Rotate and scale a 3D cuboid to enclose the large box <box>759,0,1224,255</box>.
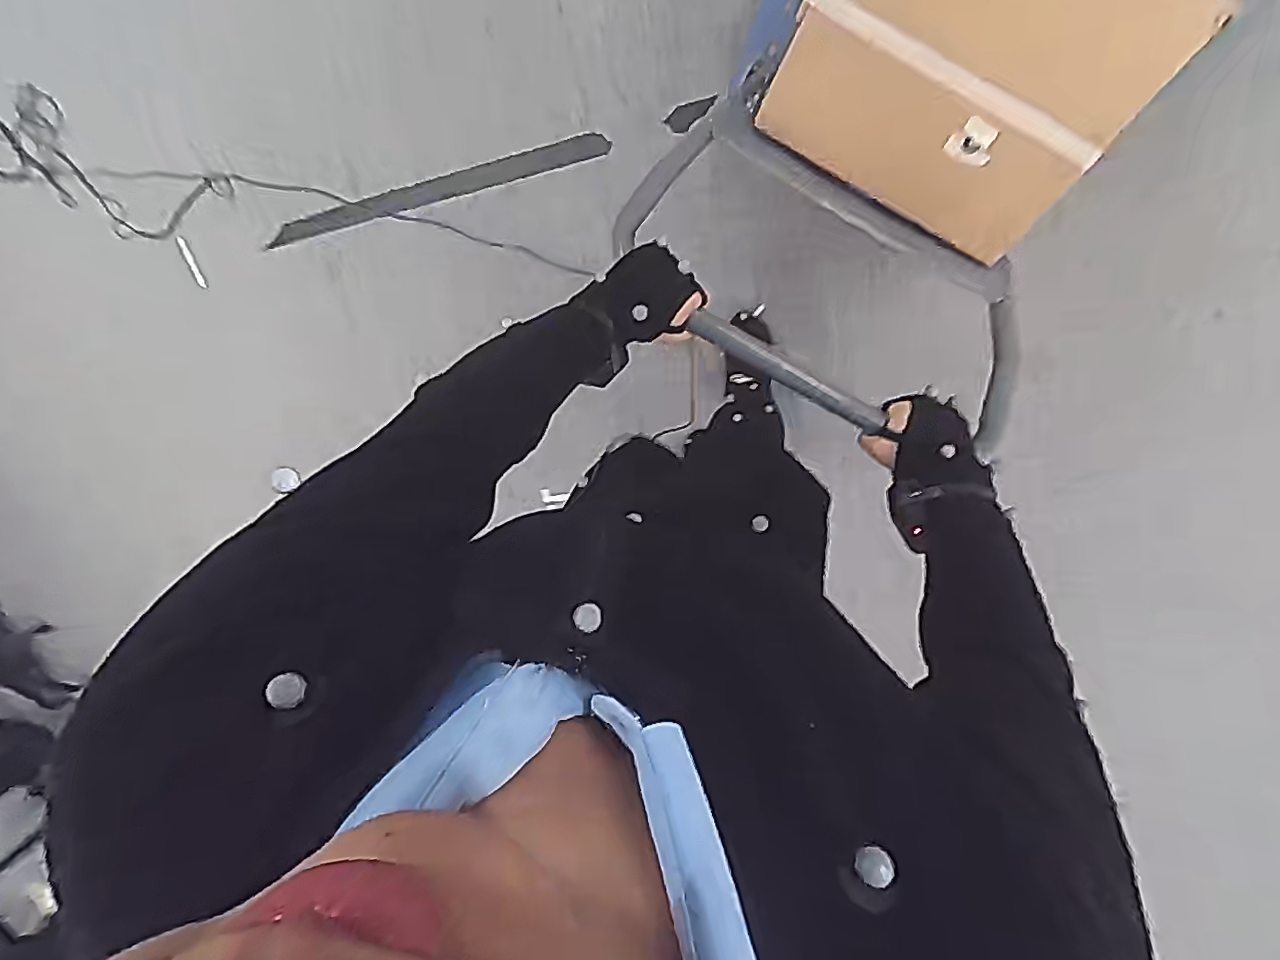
[{"bbox_3d":[0.443,-0.607,0.776,0.408,0.320,0.320,29,139,-2],"label":"large box"}]
